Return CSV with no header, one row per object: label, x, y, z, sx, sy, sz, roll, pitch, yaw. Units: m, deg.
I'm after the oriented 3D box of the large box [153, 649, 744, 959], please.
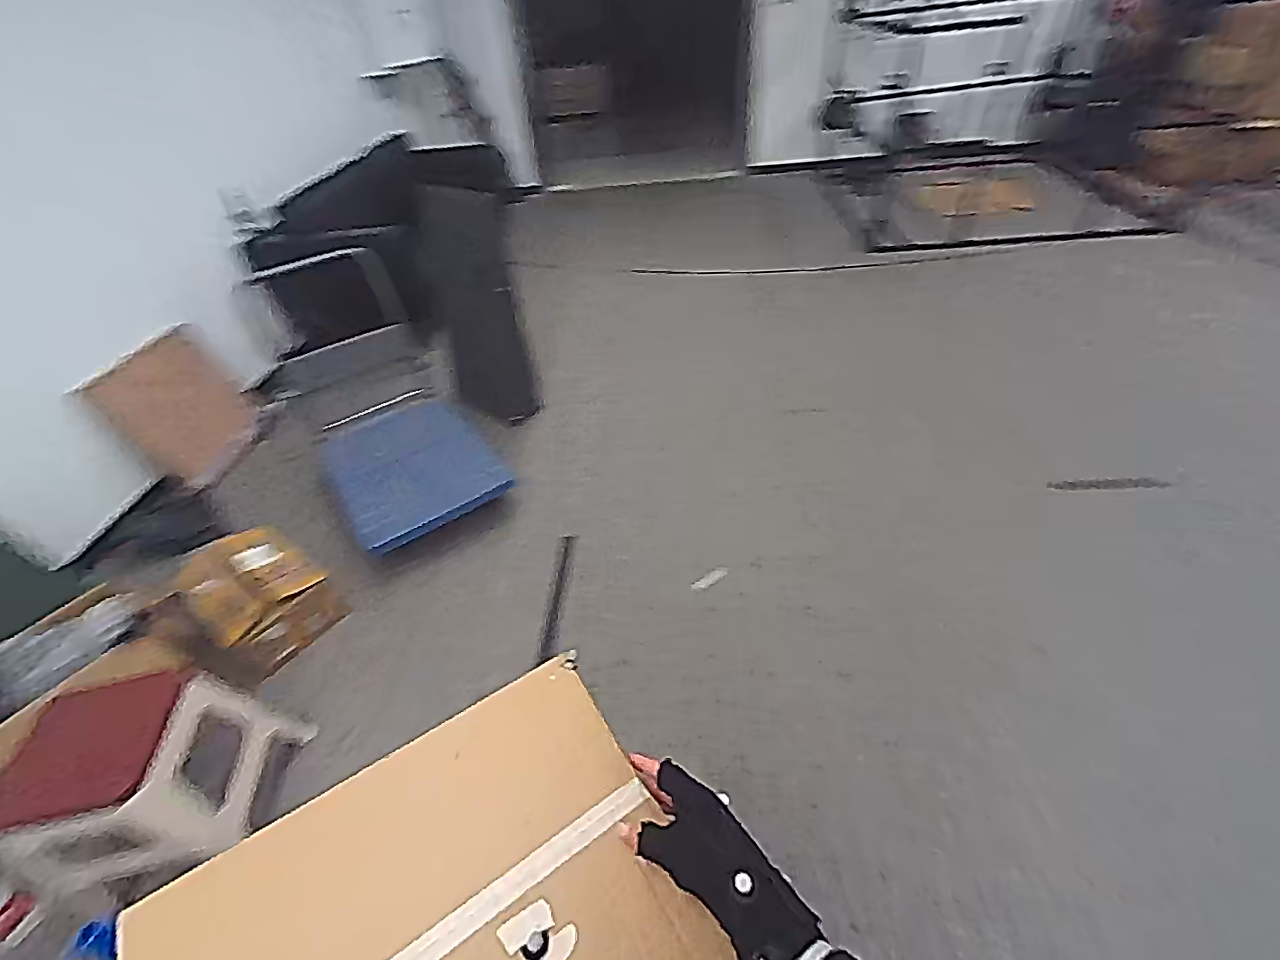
large box,-0.166,0.460,0.557,0.408,0.320,0.320,-24,56,-23
